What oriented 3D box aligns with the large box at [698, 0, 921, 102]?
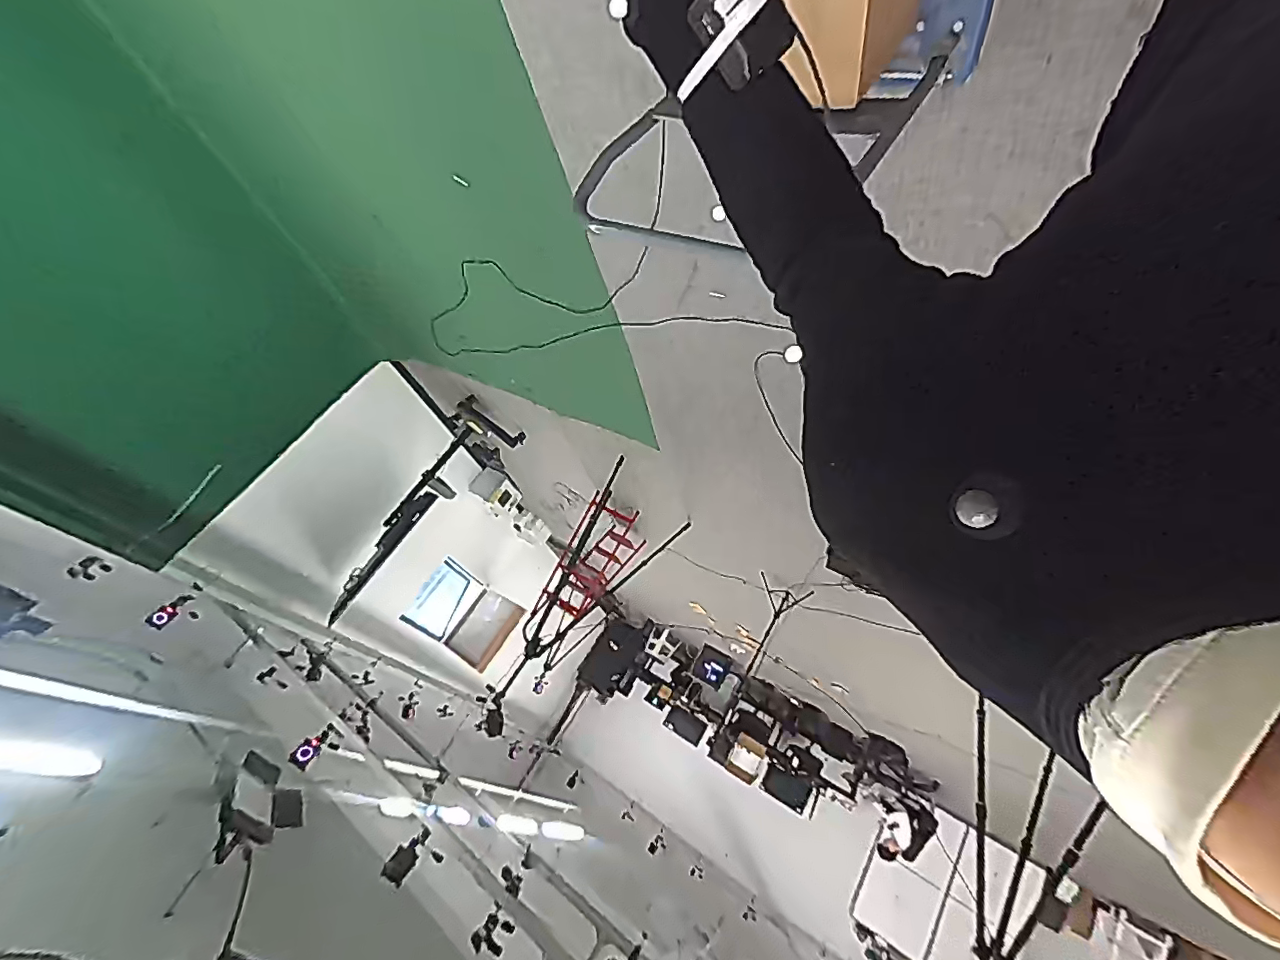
[{"bbox_3d":[0.300,-0.942,0.918,0.320,0.320,0.408,24,156,26],"label":"large box"}]
